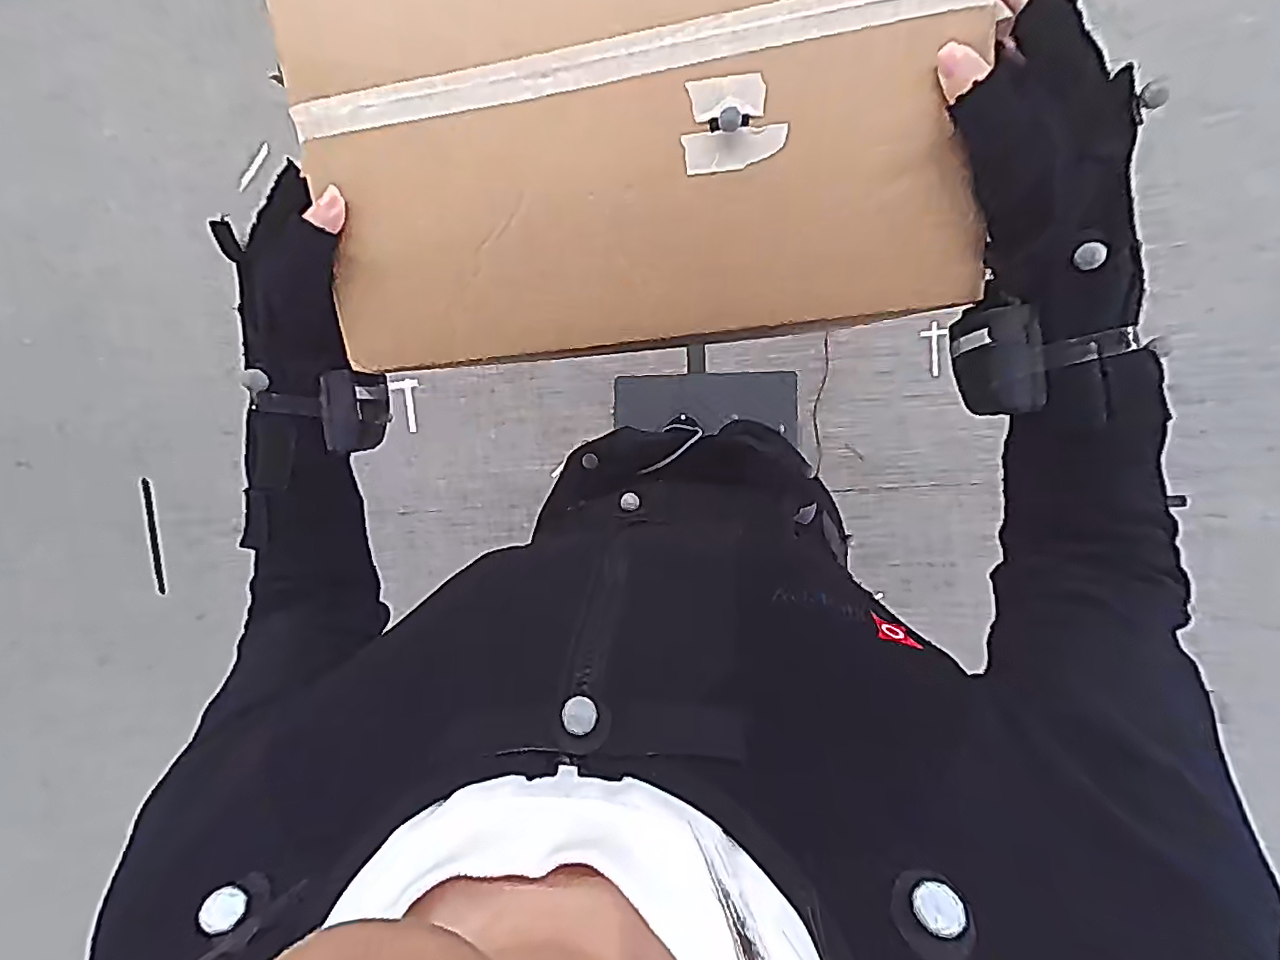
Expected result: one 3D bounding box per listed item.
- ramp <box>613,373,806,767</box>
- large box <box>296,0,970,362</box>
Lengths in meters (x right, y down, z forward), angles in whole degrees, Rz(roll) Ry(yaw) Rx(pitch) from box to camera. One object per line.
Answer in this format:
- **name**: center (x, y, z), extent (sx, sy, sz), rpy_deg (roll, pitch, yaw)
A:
- **ramp**: center (0.174, 0.213, 1.425), extent (0.509, 0.206, 0.991), rpy_deg (-2, 94, 11)
- **large box**: center (0.004, -0.285, 0.469), extent (0.408, 0.320, 0.320), rpy_deg (-5, 103, 9)
